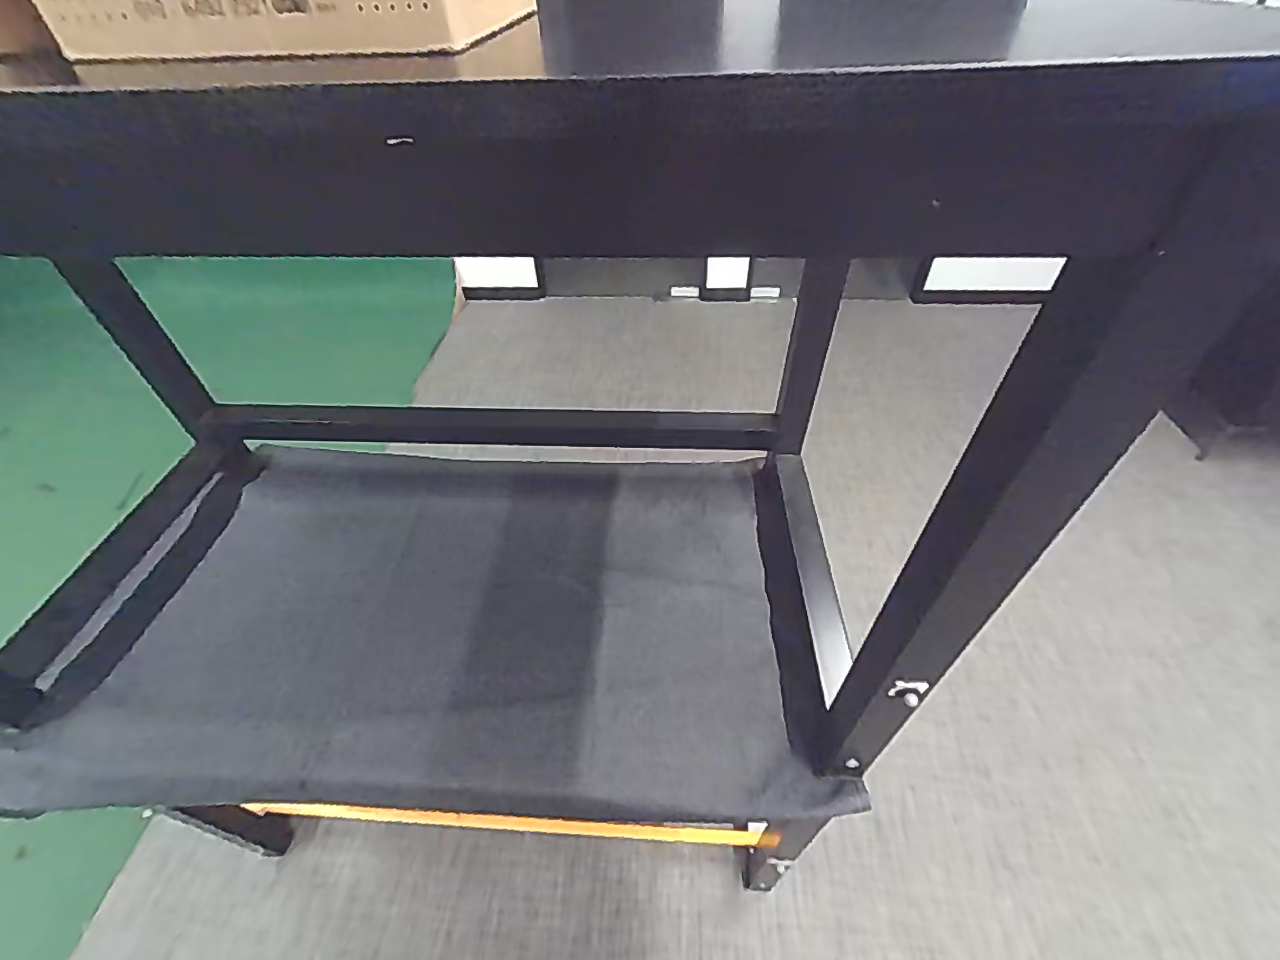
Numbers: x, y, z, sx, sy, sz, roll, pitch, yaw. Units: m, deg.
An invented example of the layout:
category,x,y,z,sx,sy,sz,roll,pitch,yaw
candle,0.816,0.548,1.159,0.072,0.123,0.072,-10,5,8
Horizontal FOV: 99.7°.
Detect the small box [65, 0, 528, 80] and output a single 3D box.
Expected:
category,x,y,z,sx,sy,sz,roll,pitch,yaw
small box,-0.152,-0.283,0.227,0.168,0.176,0.179,1,45,3
